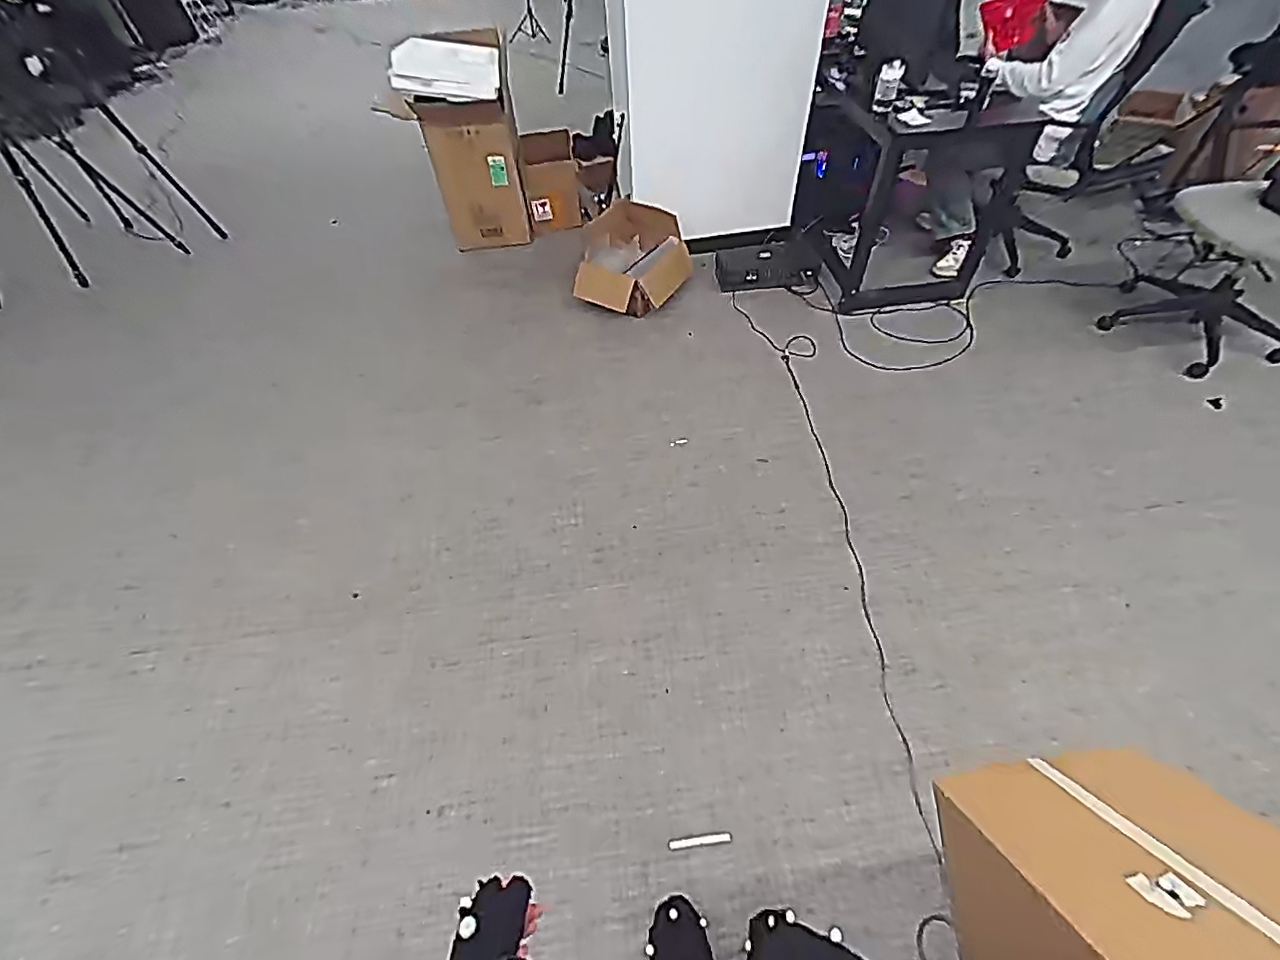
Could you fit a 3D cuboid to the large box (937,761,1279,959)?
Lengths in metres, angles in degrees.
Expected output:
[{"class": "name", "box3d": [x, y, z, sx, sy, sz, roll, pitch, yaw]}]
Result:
[{"class": "large box", "box3d": [0.622, 0.598, 0.631, 0.320, 0.408, 0.320, -9, 91, 0]}]
